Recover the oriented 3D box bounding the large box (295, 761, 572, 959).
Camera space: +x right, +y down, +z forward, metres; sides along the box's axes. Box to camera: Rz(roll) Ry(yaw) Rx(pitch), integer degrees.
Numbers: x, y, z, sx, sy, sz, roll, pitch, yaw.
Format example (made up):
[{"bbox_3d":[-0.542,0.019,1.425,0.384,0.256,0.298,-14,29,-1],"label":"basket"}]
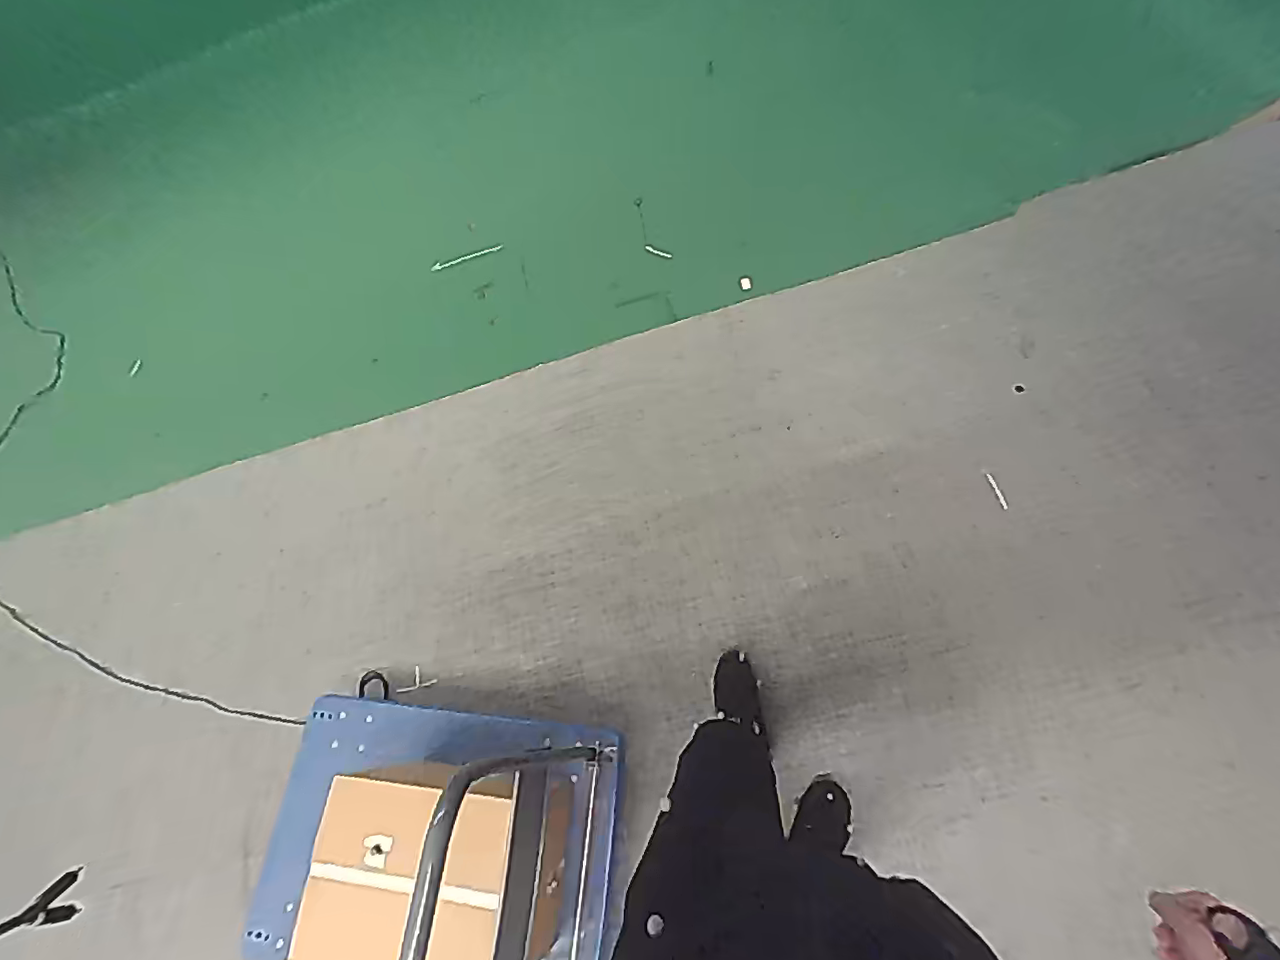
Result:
[{"bbox_3d":[-0.386,0.782,1.112,0.408,0.320,0.320,0,67,14],"label":"large box"}]
